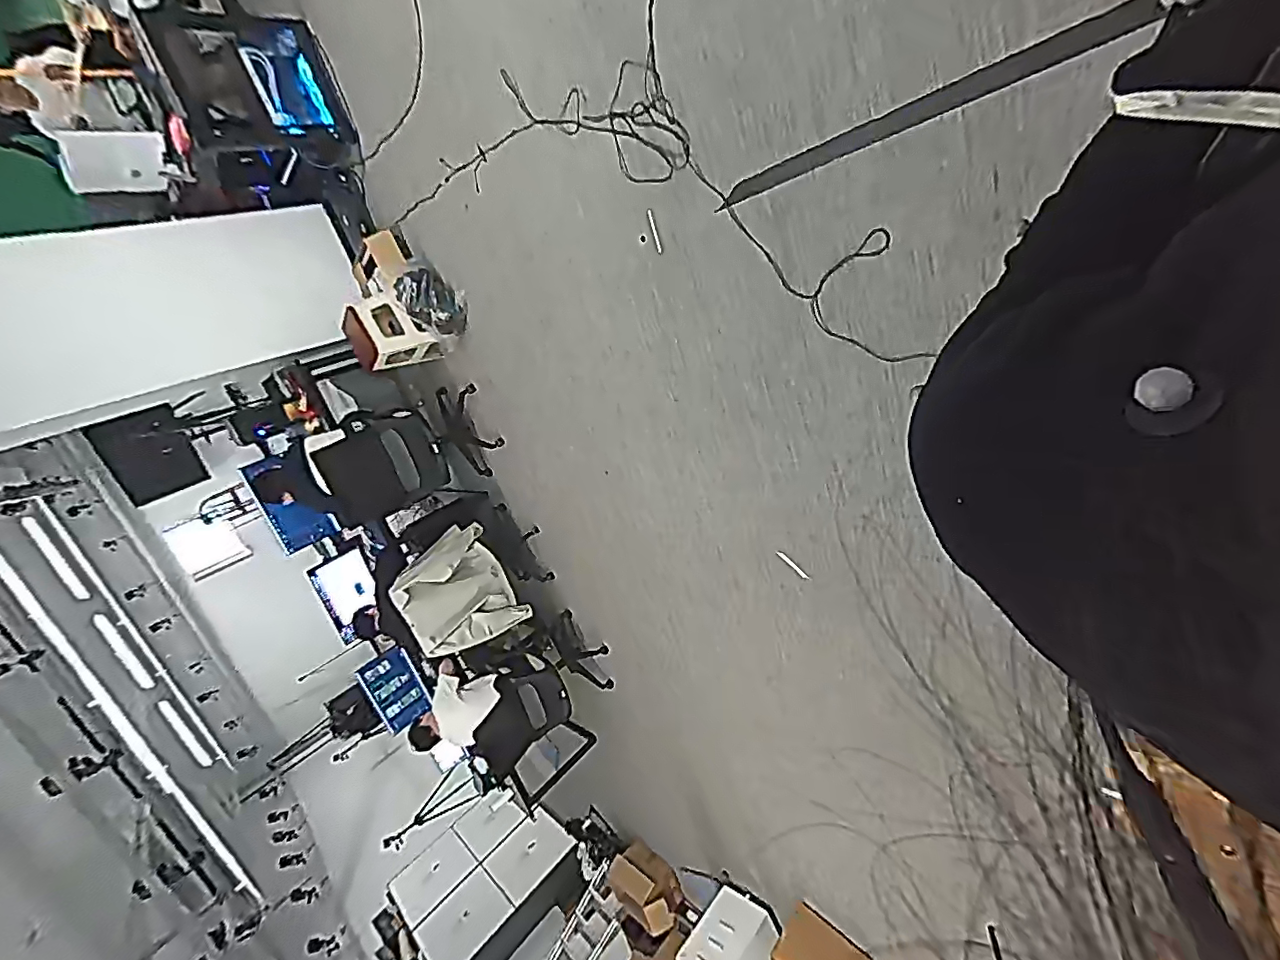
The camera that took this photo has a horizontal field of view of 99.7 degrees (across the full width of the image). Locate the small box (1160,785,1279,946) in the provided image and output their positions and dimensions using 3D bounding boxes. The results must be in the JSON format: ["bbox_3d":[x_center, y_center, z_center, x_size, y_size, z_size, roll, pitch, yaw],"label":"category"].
[{"bbox_3d":[1.178,0.761,1.088,0.179,0.176,0.168,2,116,50],"label":"small box"}]

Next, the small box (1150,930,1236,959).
[{"bbox_3d":[0.956,0.905,0.892,0.179,0.176,0.168,6,120,47],"label":"small box"}]
